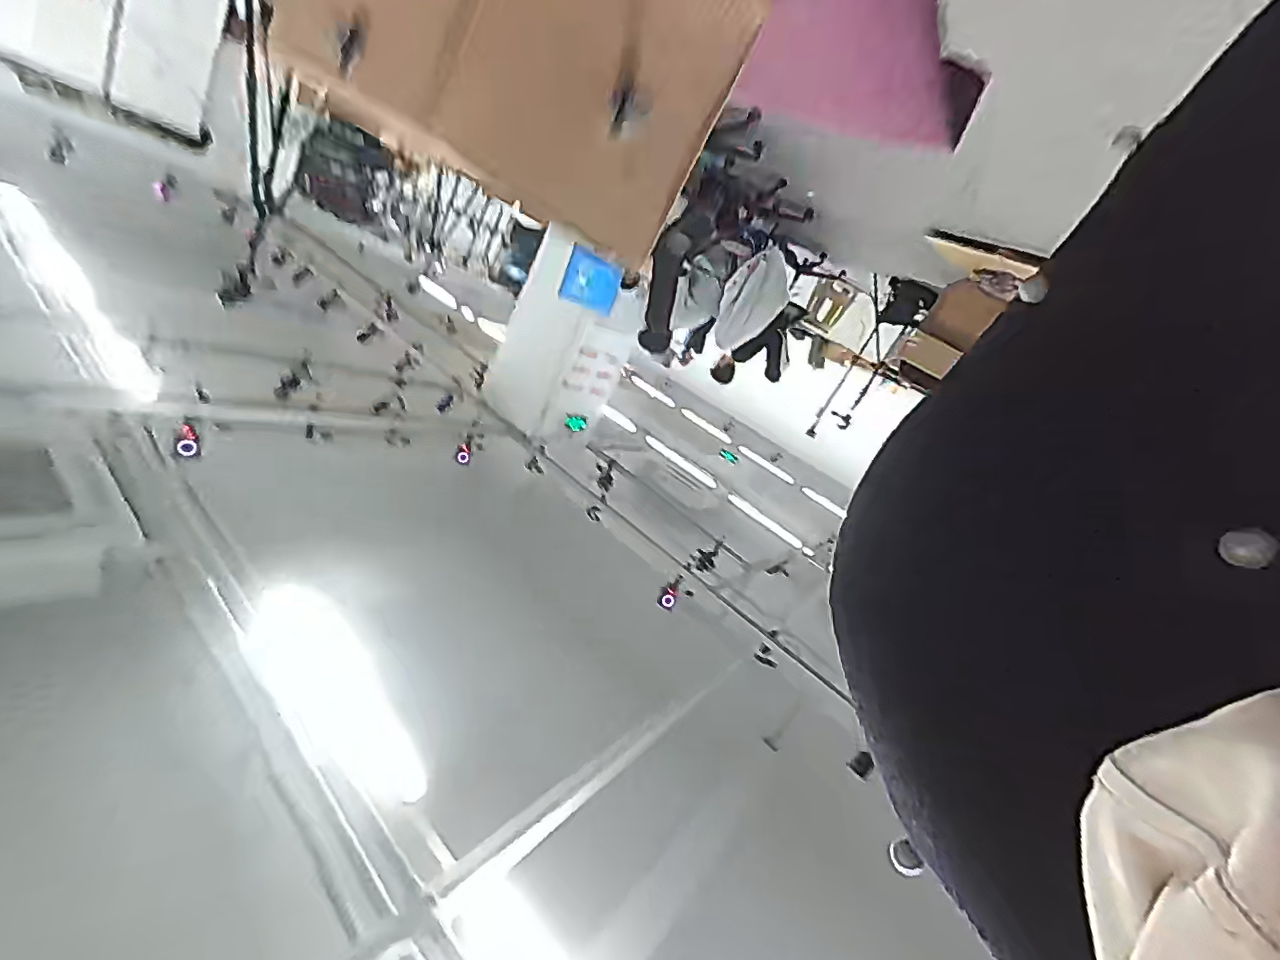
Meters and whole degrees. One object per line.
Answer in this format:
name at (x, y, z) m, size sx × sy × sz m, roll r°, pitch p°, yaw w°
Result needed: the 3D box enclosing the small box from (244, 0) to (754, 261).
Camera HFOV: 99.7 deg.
small box at (-0.066, -0.256, 0.293) m, size 0.168 × 0.176 × 0.179 m, roll 39°, pitch -160°, yaw 27°
